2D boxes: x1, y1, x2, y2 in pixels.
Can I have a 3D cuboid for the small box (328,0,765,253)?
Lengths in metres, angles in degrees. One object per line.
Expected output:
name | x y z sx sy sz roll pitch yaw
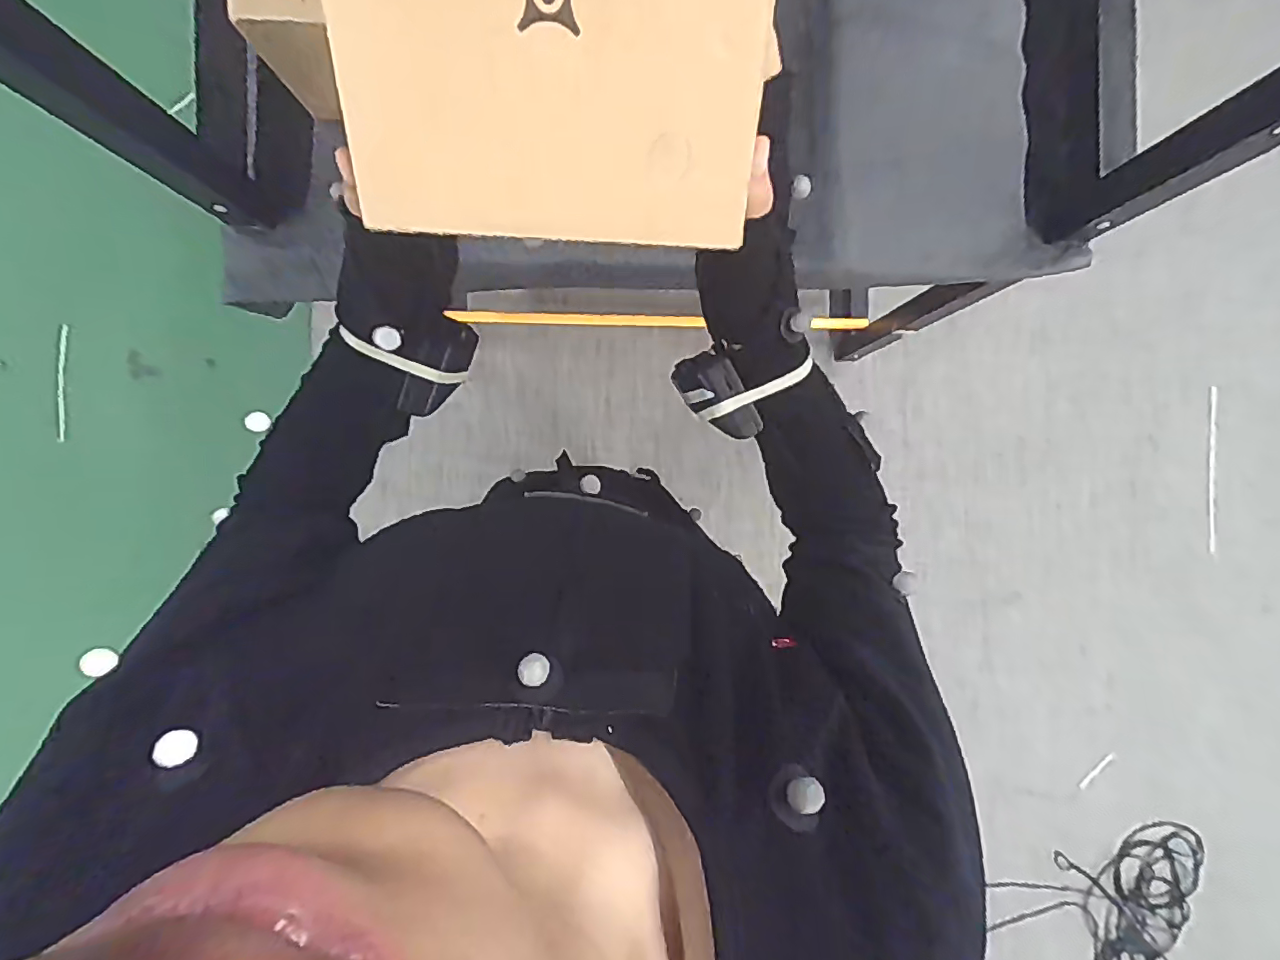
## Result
small box | -0.035 -0.223 0.267 0.168 0.176 0.179 1 122 -3

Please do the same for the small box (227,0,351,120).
small box | -0.362 -0.578 0.663 0.168 0.176 0.179 1 91 -2
